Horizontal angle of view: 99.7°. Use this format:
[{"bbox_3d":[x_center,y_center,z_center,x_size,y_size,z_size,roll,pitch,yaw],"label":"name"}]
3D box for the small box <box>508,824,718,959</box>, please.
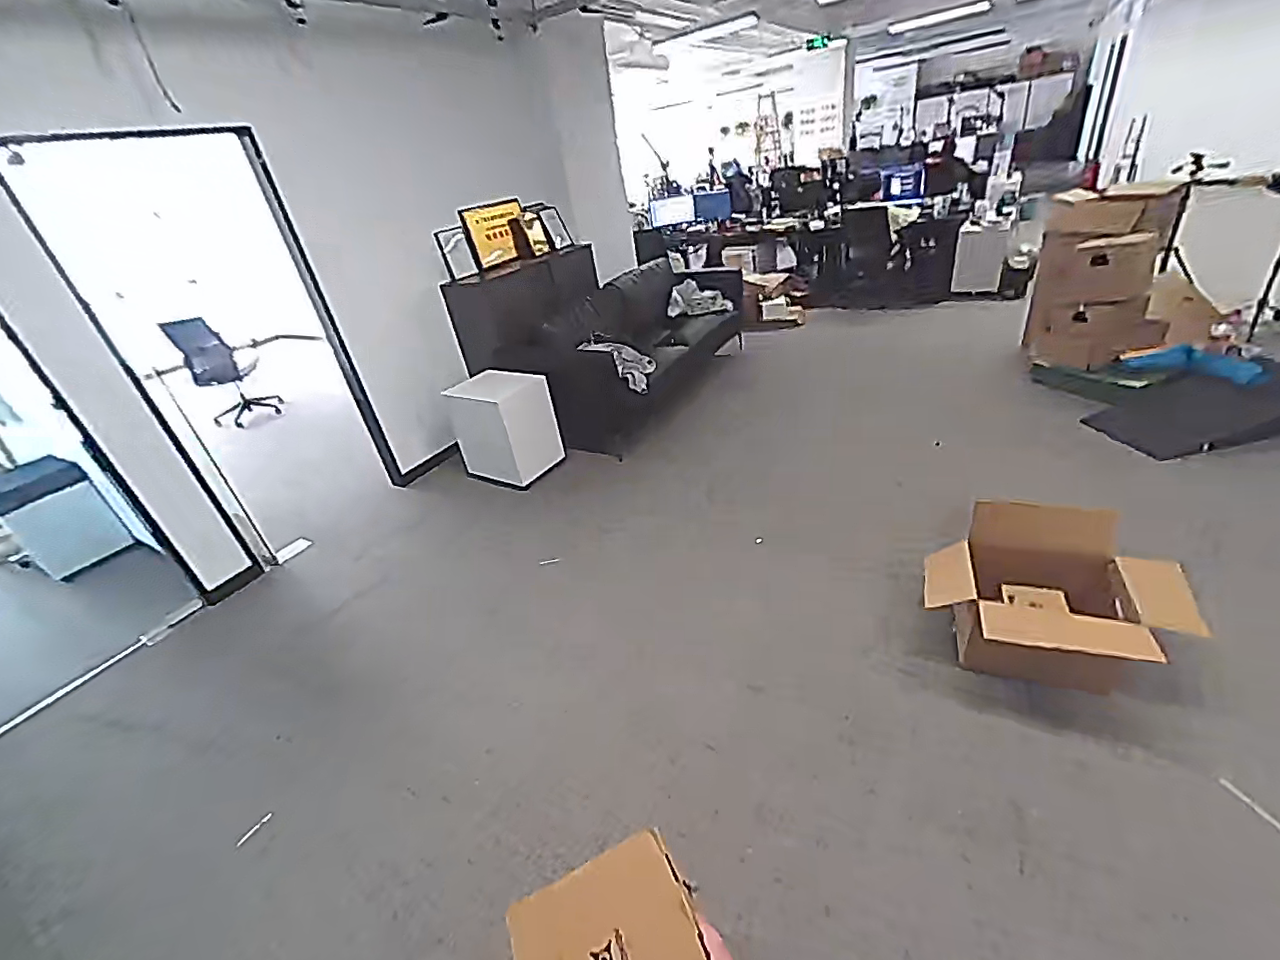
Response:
[{"bbox_3d":[-0.011,0.502,0.550,0.179,0.176,0.168,-24,35,-9],"label":"small box"}]
